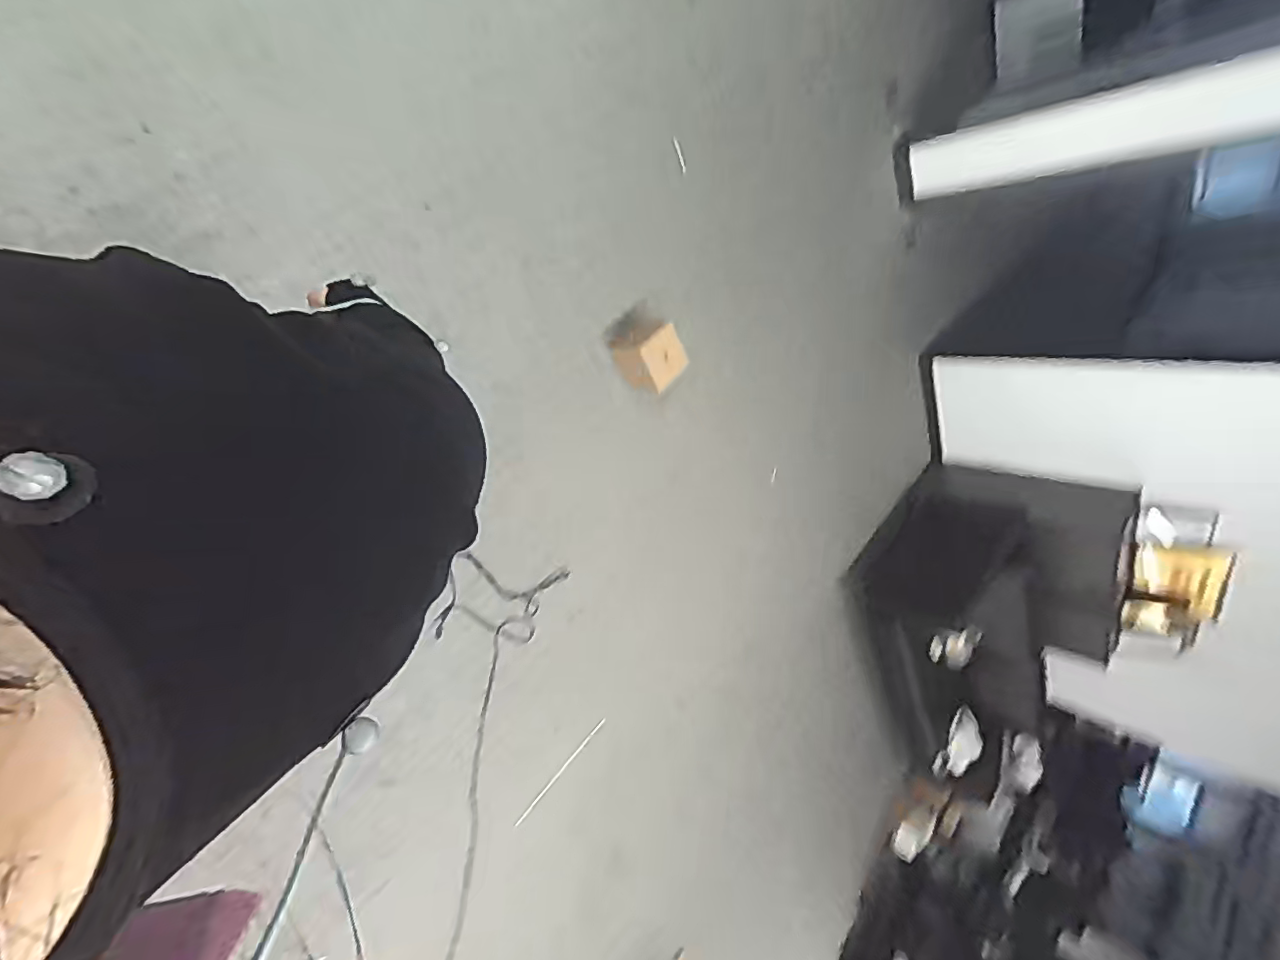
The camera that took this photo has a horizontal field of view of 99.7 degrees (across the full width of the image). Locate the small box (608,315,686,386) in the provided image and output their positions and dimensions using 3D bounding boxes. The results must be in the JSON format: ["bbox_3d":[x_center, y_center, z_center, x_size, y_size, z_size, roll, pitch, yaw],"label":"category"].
[{"bbox_3d":[0.022,-0.441,1.845,0.168,0.176,0.179,-46,128,-21],"label":"small box"}]

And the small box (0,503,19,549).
[{"bbox_3d":[-1.227,0.082,0.909,0.168,0.176,0.179,-45,126,-23],"label":"small box"}]
